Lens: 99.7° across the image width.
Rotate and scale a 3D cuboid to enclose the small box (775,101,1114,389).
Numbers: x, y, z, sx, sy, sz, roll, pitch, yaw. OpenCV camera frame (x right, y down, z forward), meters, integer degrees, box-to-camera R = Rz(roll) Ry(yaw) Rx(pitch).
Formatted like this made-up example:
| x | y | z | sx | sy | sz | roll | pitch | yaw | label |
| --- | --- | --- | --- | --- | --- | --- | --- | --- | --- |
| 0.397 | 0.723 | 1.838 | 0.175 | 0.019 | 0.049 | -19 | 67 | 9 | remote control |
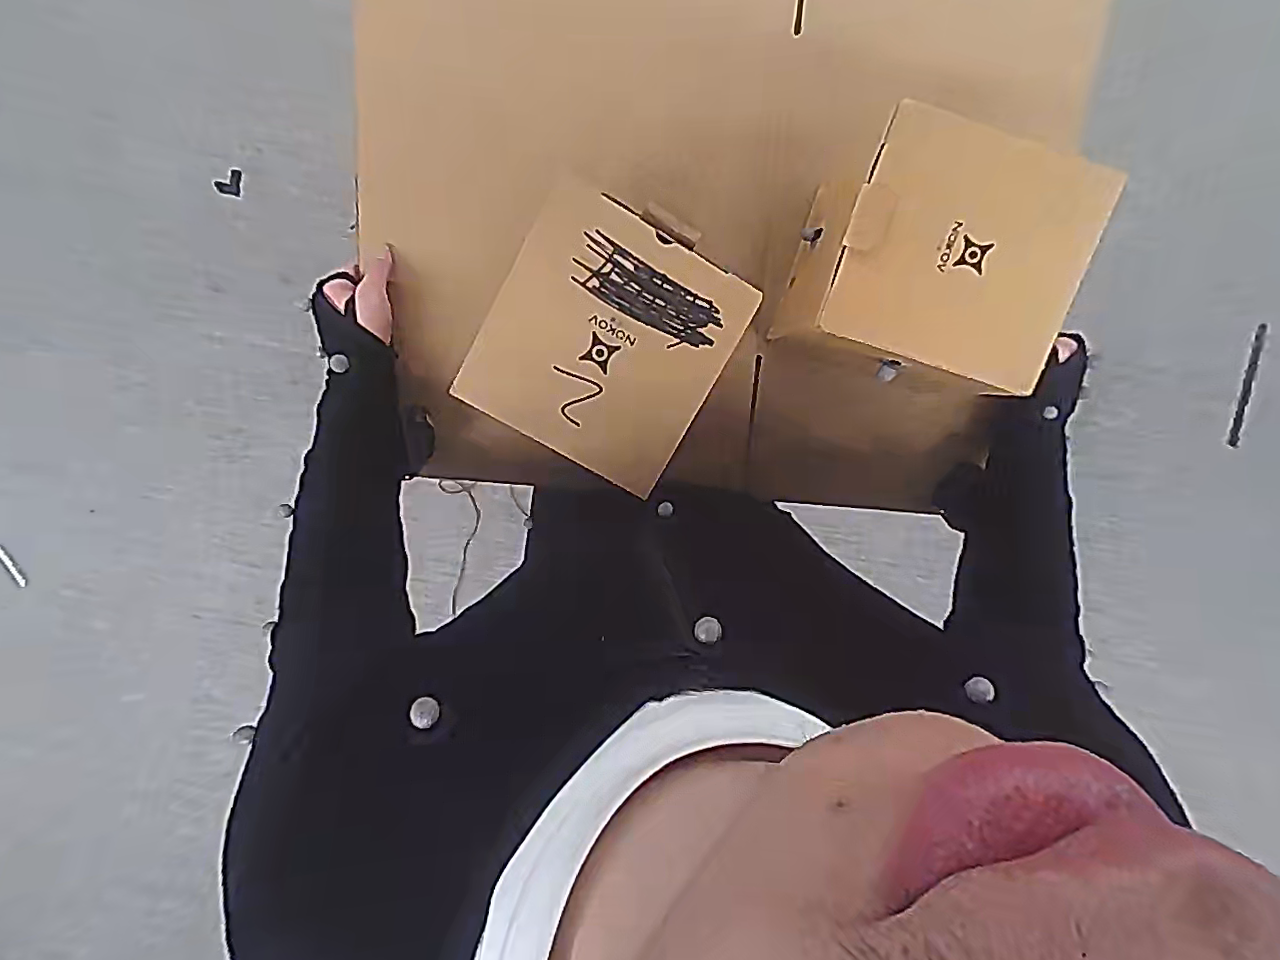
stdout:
| x | y | z | sx | sy | sz | roll | pitch | yaw | label |
| --- | --- | --- | --- | --- | --- | --- | --- | --- | --- |
| 0.244 | -0.188 | 0.486 | 0.179 | 0.176 | 0.168 | 17 | 100 | -2 | small box |
